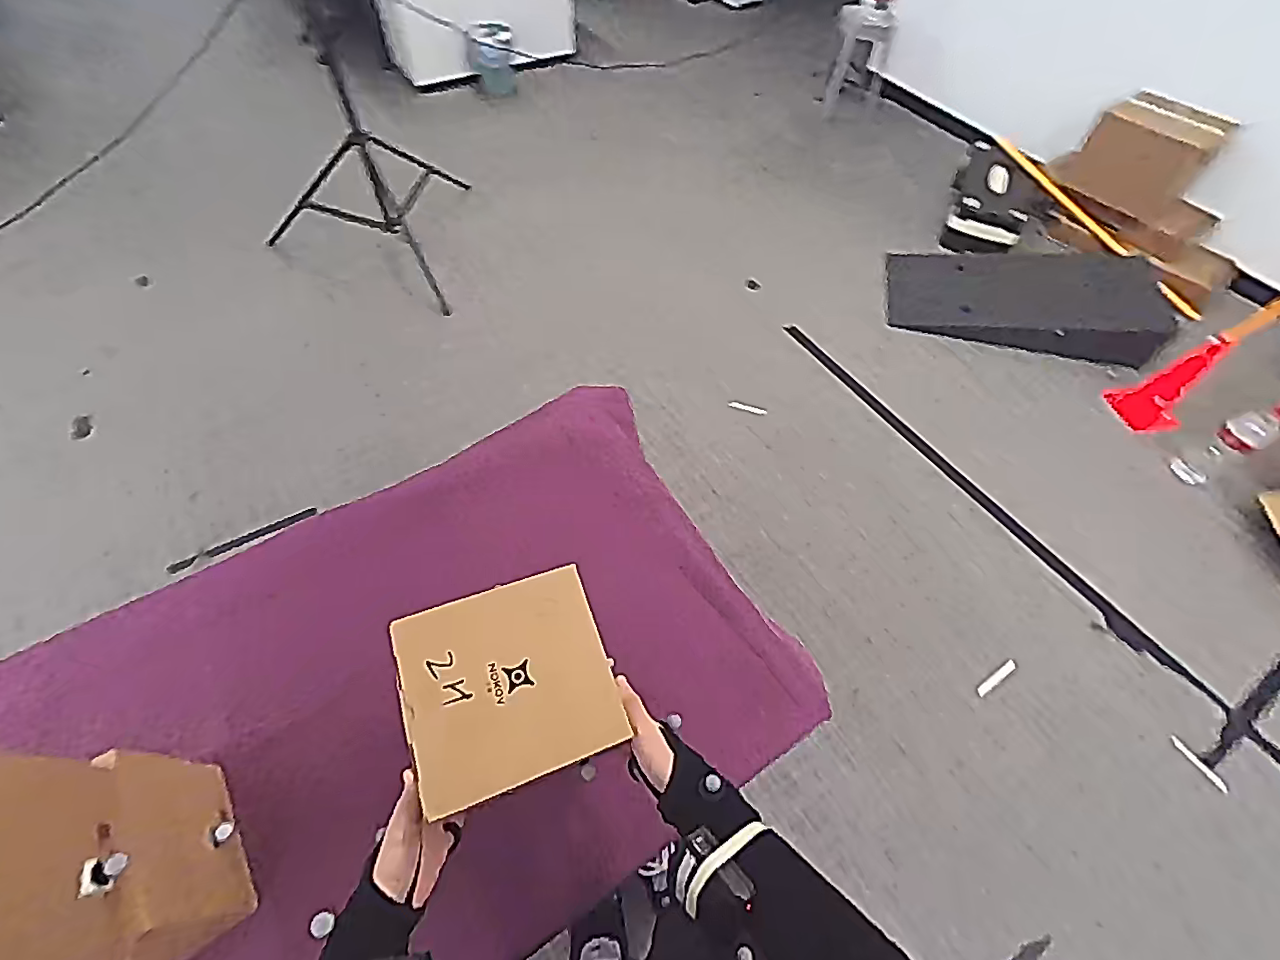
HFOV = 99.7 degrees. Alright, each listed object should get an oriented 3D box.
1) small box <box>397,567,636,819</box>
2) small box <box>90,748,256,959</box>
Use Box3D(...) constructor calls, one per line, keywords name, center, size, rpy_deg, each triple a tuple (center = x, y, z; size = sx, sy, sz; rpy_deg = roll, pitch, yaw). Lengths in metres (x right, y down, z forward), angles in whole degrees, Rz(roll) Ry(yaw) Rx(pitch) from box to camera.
Box3D(name="small box", center=(-0.120, 0.210, 0.541), size=(0.179, 0.176, 0.168), rpy_deg=(-16, 65, -15))
Box3D(name="small box", center=(-0.515, 0.390, 0.509), size=(0.179, 0.176, 0.168), rpy_deg=(-30, 64, -21))
